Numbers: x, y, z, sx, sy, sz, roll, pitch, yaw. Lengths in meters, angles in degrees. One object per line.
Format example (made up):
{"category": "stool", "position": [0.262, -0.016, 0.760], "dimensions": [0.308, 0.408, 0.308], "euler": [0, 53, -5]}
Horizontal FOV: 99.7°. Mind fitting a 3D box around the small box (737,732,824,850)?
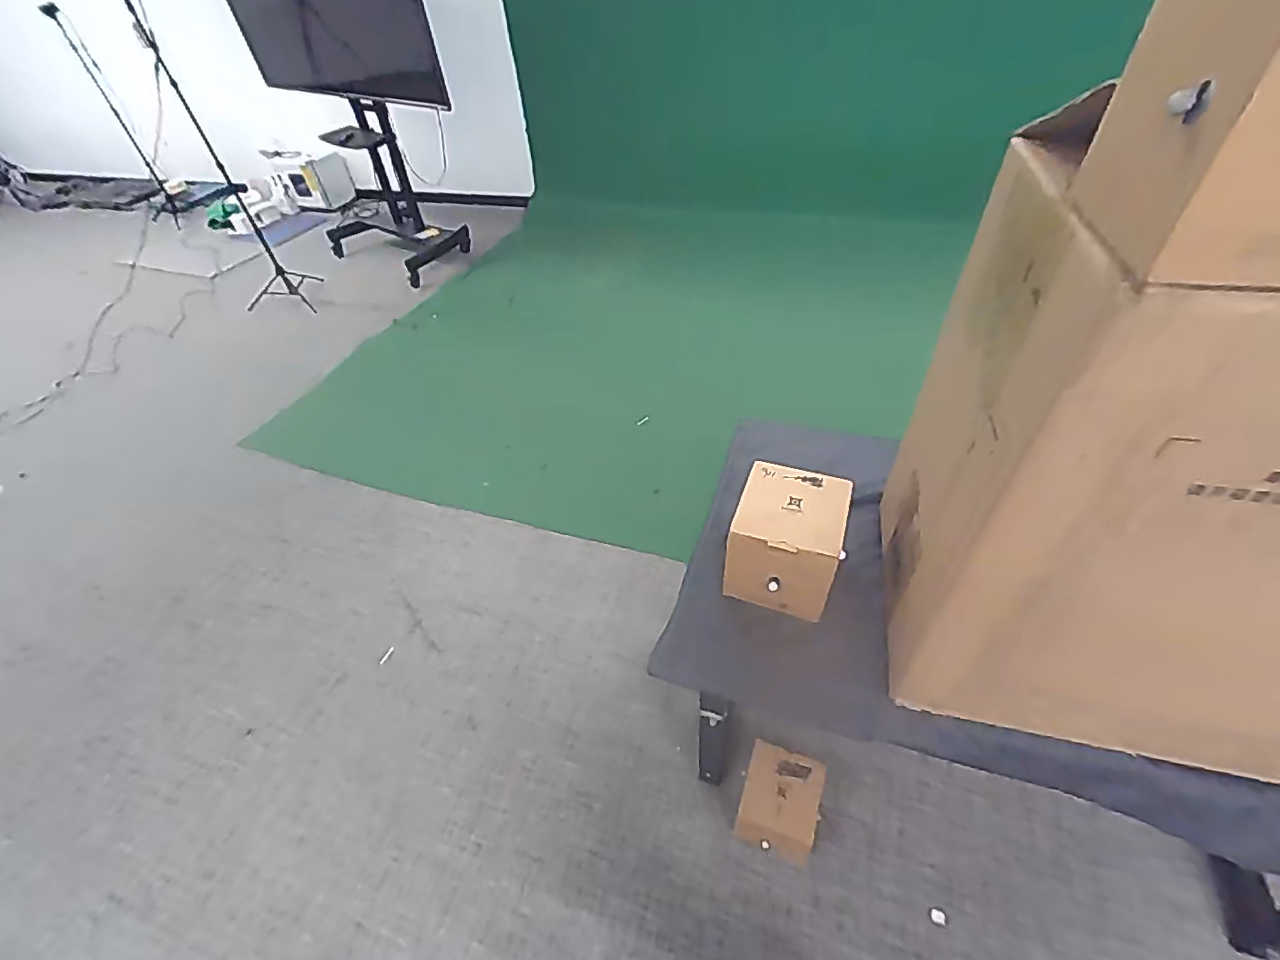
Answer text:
{"category": "small box", "position": [0.332, 0.747, 1.298], "dimensions": [0.168, 0.176, 0.179], "euler": [13, 50, 19]}
